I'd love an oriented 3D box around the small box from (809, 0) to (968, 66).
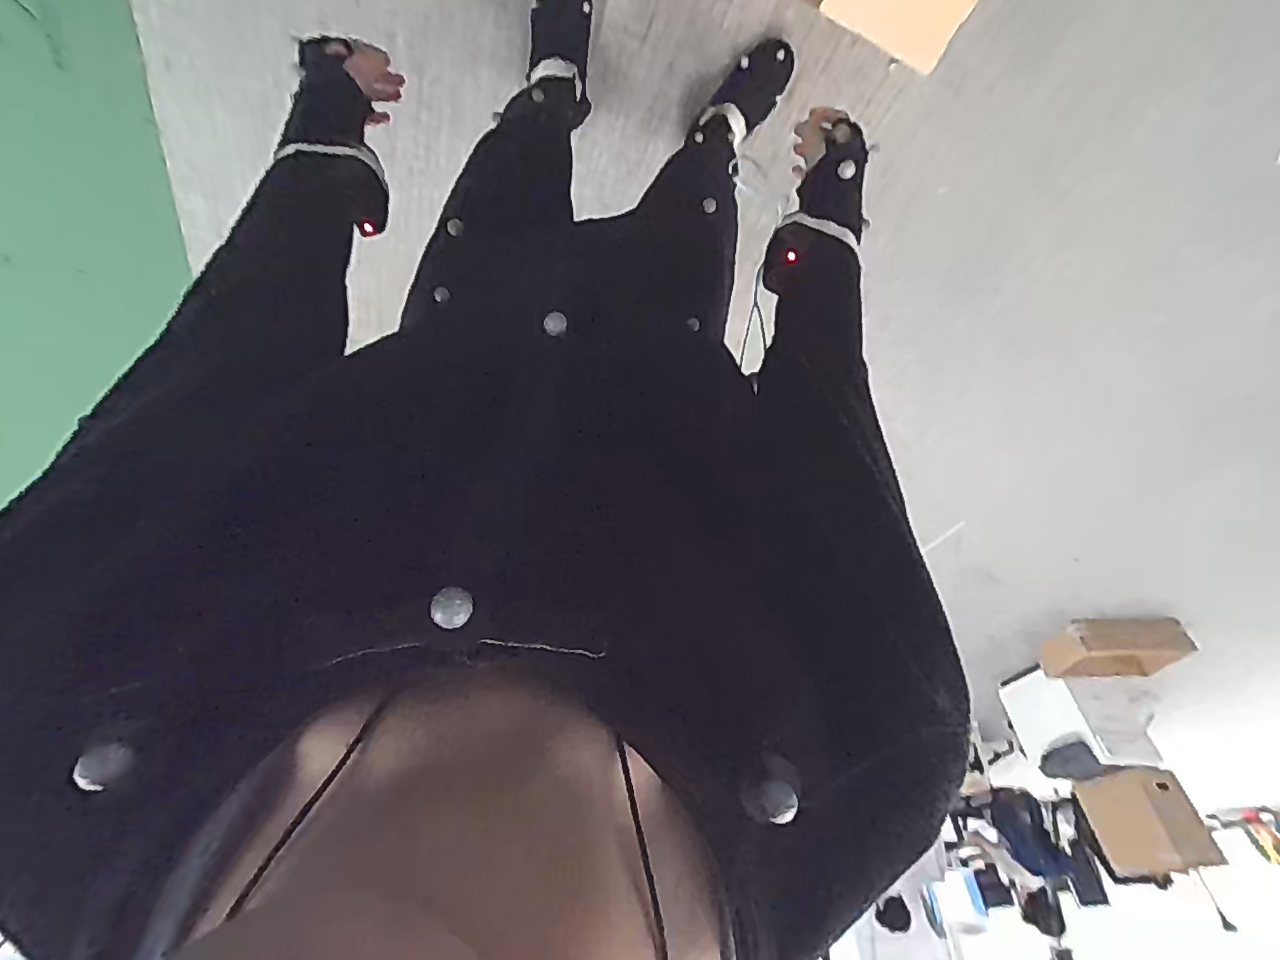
[{"bbox_3d":[0.314,-0.660,0.668,0.179,0.176,0.168,13,137,-18],"label":"small box"}]
